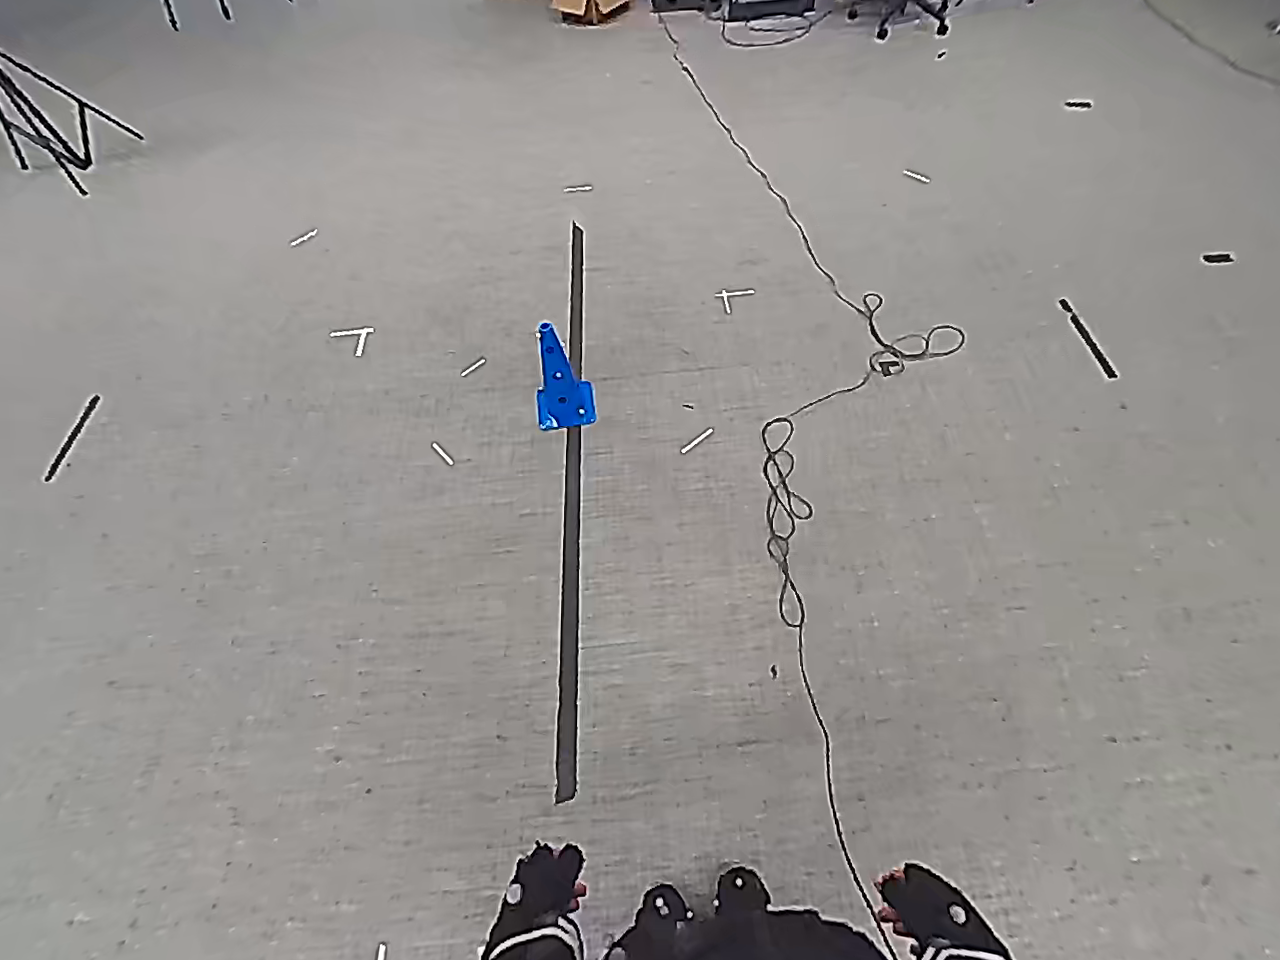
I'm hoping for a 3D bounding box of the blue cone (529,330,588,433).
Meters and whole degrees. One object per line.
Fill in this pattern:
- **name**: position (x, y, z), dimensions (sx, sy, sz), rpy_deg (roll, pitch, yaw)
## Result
- **blue cone**: position (-0.293, -0.341, 1.777), dimensions (0.192, 0.380, 0.193), rpy_deg (-8, 56, 0)
